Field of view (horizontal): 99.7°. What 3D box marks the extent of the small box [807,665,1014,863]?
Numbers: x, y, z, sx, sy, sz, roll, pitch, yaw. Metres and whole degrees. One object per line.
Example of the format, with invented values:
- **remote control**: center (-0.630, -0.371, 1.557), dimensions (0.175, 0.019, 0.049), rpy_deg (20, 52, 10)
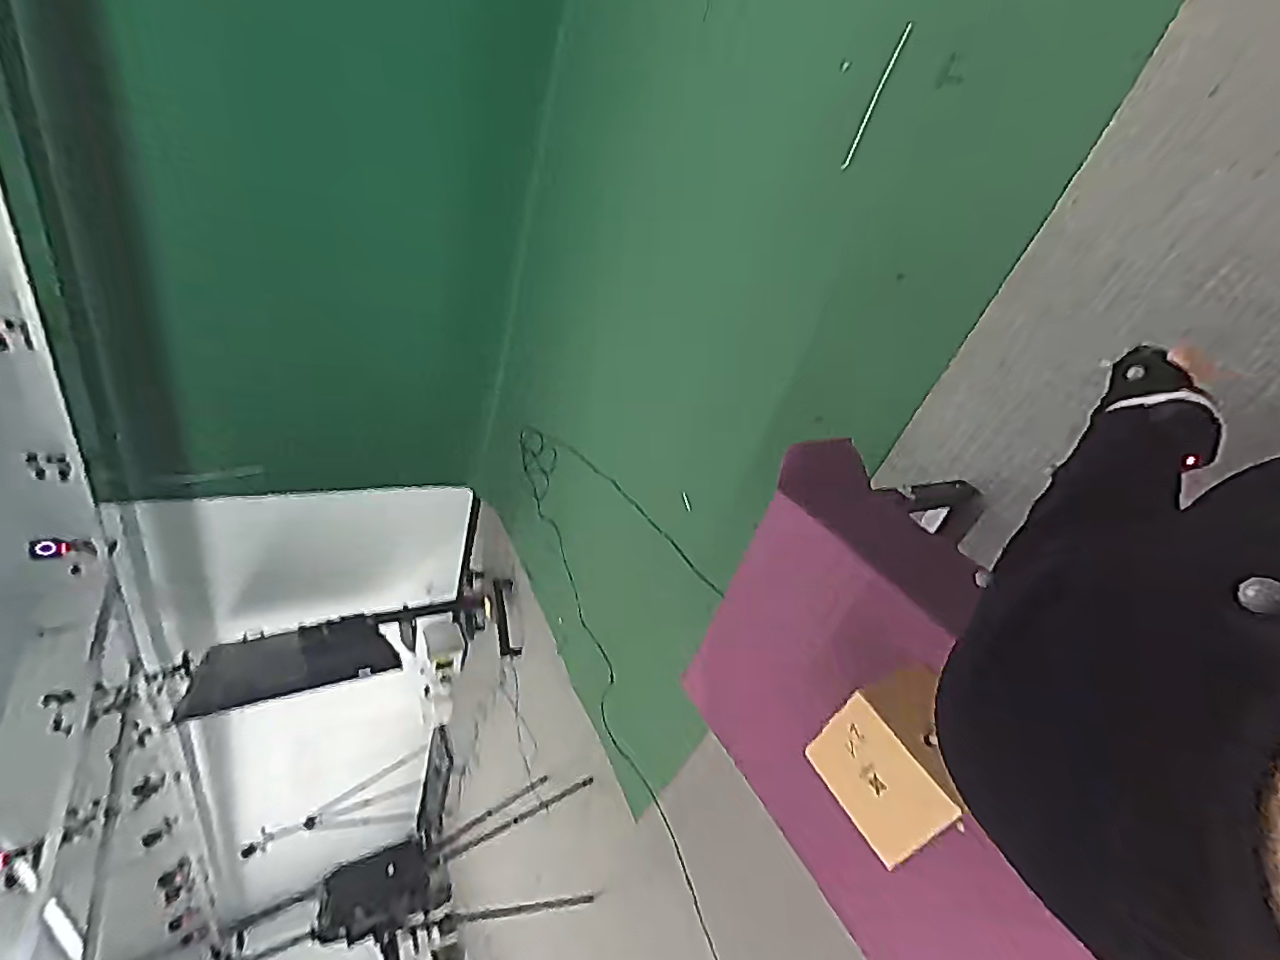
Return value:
- **small box**: center (0.390, 0.402, 0.789), dimensions (0.179, 0.176, 0.168), rpy_deg (53, 133, 40)
